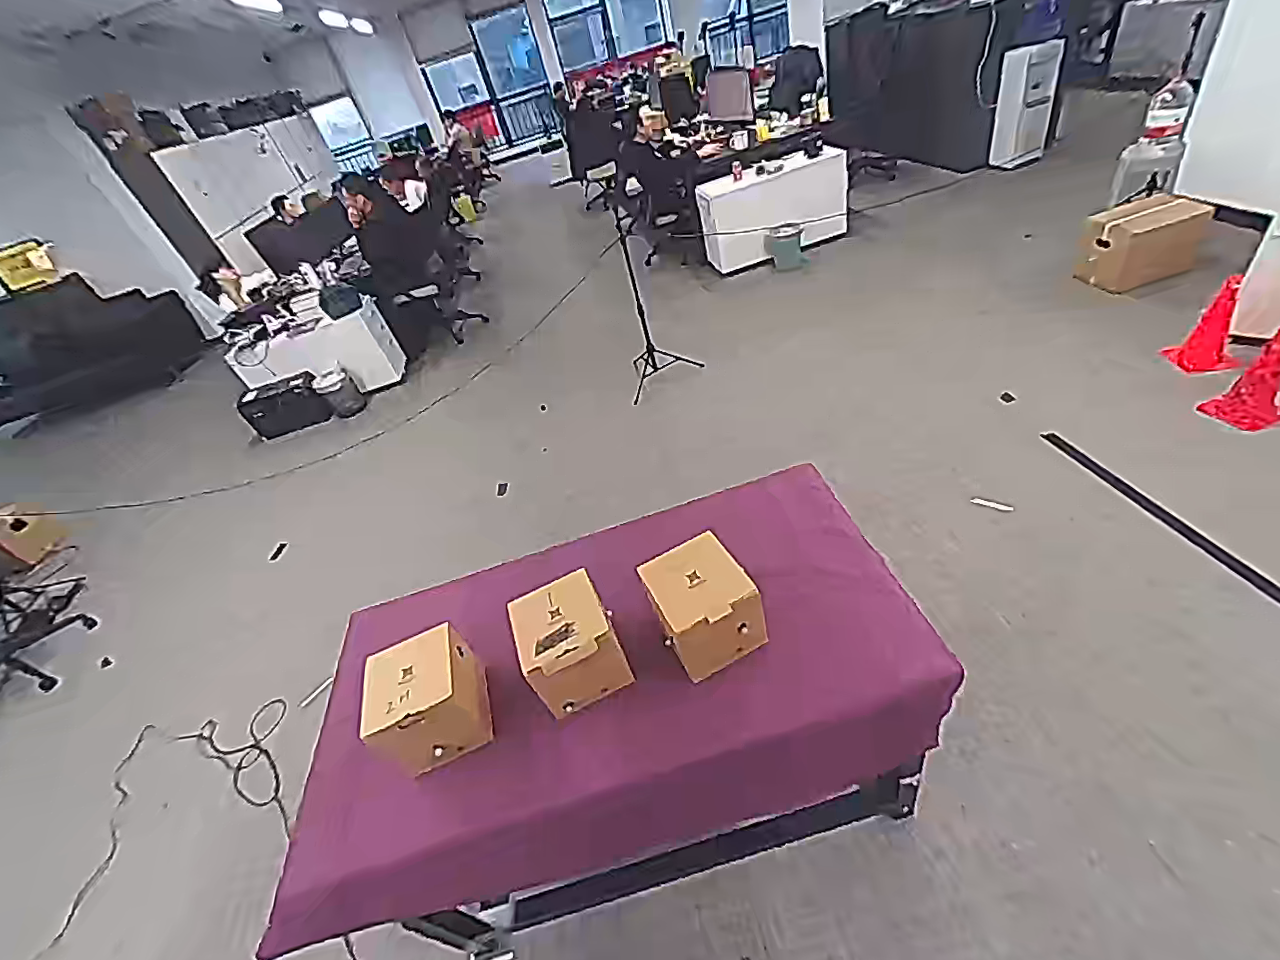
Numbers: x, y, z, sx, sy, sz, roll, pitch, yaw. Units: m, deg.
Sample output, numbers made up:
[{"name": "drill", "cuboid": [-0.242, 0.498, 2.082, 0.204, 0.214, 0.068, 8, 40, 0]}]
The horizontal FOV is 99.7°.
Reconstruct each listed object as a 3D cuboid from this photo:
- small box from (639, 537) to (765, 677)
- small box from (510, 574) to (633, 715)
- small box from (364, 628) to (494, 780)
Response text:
[{"name": "small box", "cuboid": [0.121, 0.248, 1.033, 0.168, 0.176, 0.179, -26, 39, -9]}, {"name": "small box", "cuboid": [-0.130, 0.323, 1.044, 0.168, 0.176, 0.179, -25, 38, -8]}, {"name": "small box", "cuboid": [-0.394, 0.425, 1.027, 0.168, 0.176, 0.179, -24, 39, -6]}]
